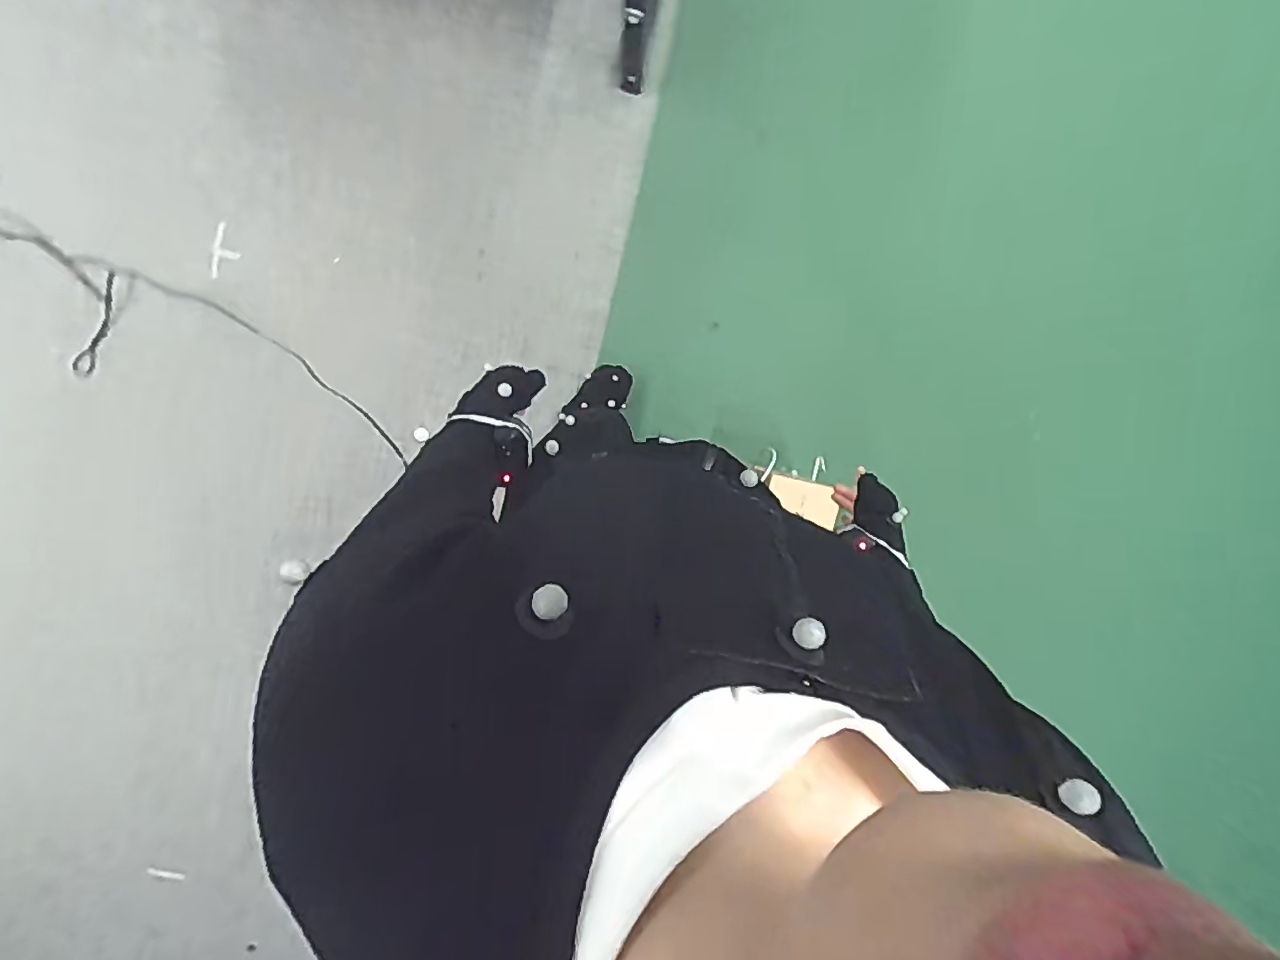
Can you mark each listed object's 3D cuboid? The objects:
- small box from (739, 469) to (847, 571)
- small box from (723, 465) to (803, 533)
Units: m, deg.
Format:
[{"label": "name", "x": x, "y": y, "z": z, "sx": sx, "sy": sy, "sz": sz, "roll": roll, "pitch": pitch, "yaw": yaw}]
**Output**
[{"label": "small box", "x": 0.341, "y": 0.086, "z": 1.246, "sx": 0.168, "sy": 0.176, "sz": 0.179, "roll": 16, "pitch": 96, "yaw": -6}, {"label": "small box", "x": 0.332, "y": 0.060, "z": 1.411, "sx": 0.179, "sy": 0.176, "sz": 0.168, "roll": 14, "pitch": 95, "yaw": -4}]
